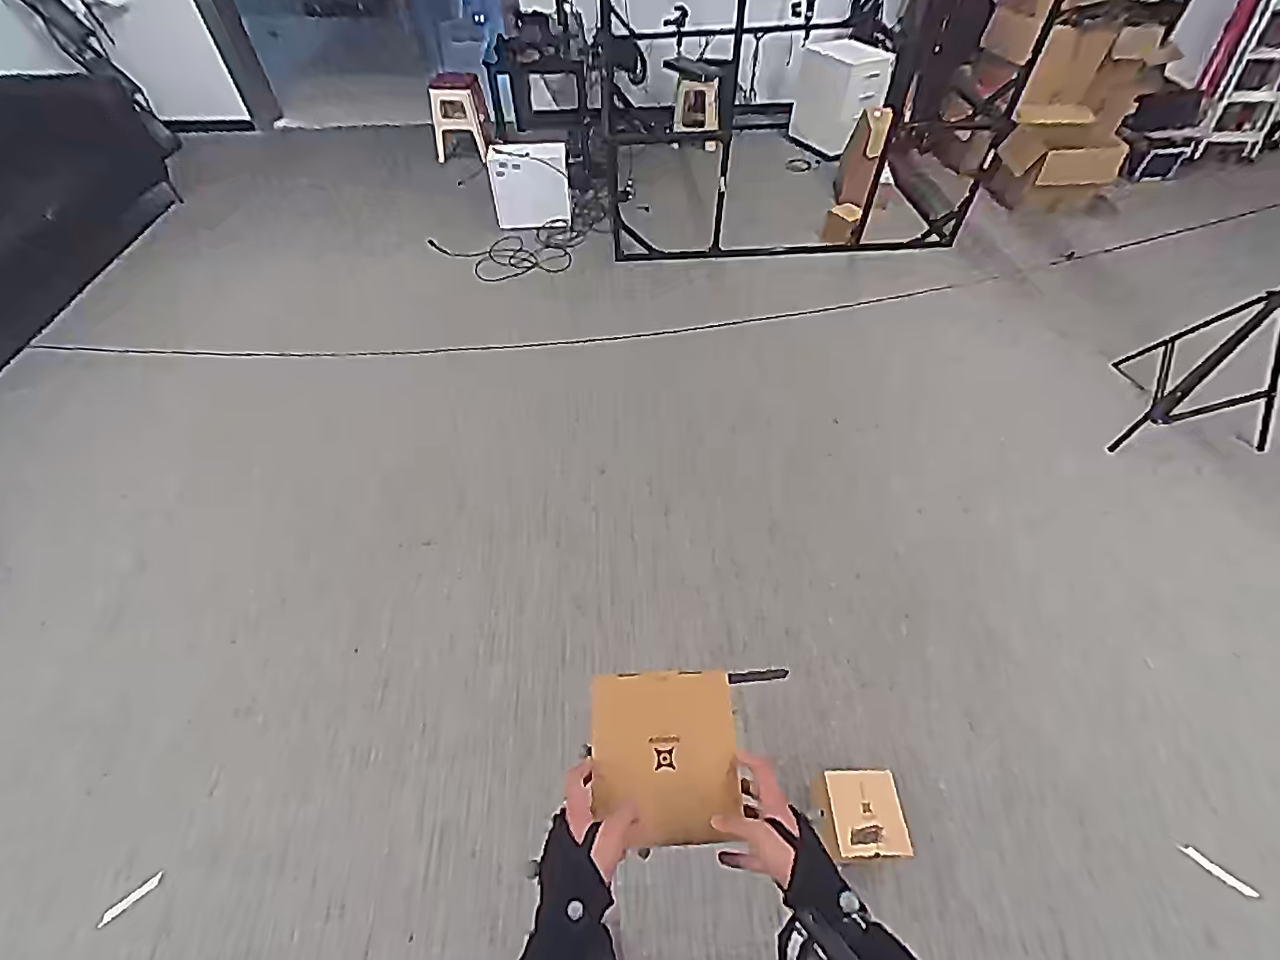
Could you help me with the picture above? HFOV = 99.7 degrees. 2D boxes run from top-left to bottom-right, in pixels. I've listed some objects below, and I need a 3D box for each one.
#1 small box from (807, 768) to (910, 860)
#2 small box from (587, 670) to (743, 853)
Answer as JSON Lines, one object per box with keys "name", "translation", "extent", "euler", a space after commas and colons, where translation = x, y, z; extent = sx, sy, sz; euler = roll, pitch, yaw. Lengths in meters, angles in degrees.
{"name": "small box", "translation": [0.521, 0.814, 1.313], "extent": [0.168, 0.176, 0.179], "euler": [0, 50, -1]}
{"name": "small box", "translation": [0.019, 0.343, 0.668], "extent": [0.168, 0.176, 0.179], "euler": [-1, 60, -5]}
